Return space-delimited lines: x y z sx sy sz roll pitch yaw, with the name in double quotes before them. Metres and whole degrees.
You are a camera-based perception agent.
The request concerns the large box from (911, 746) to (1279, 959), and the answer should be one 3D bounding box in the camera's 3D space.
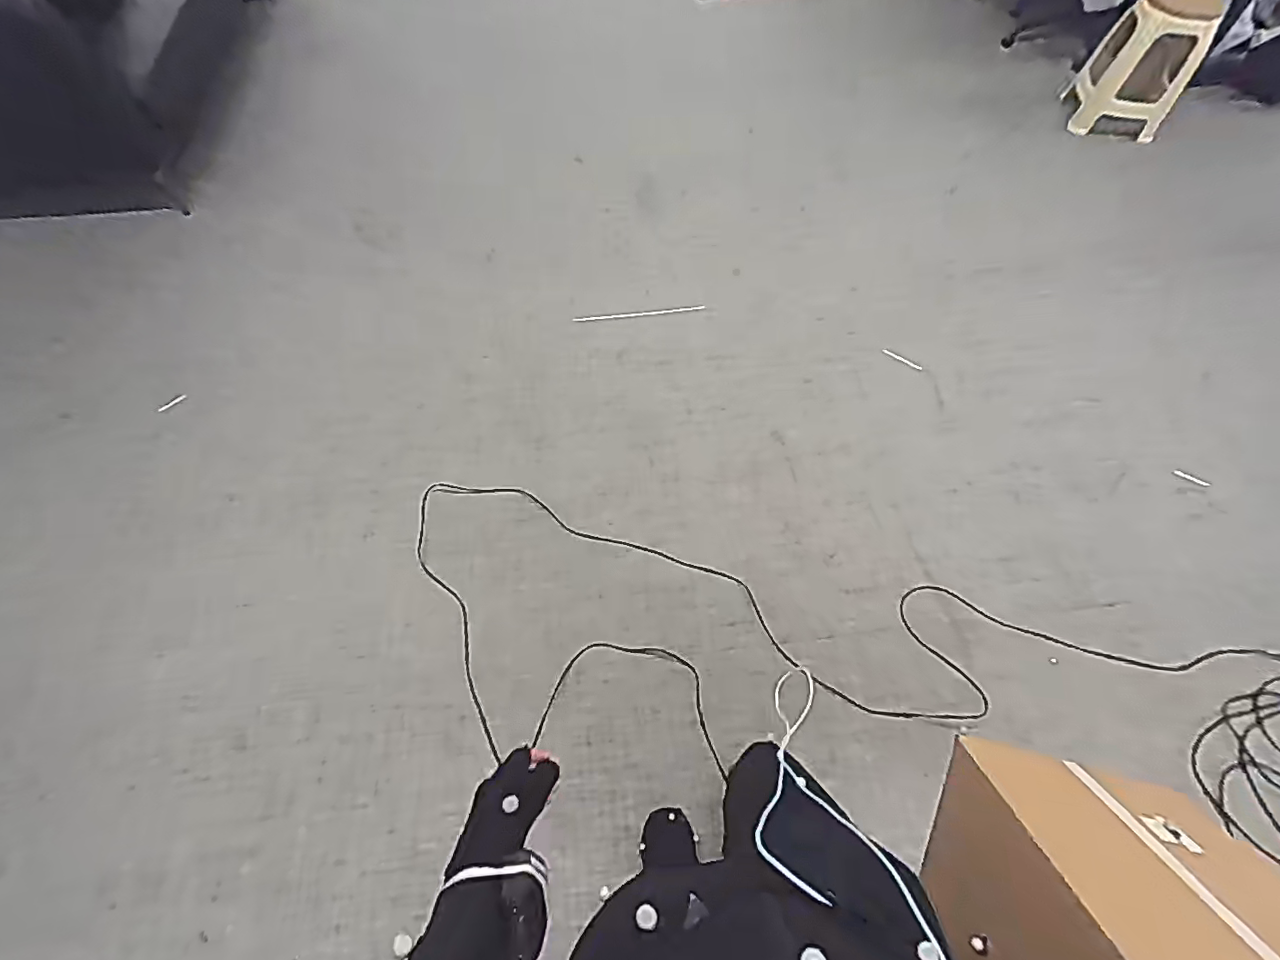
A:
"large box" 0.578 0.606 0.646 0.320 0.408 0.320 13 96 8
